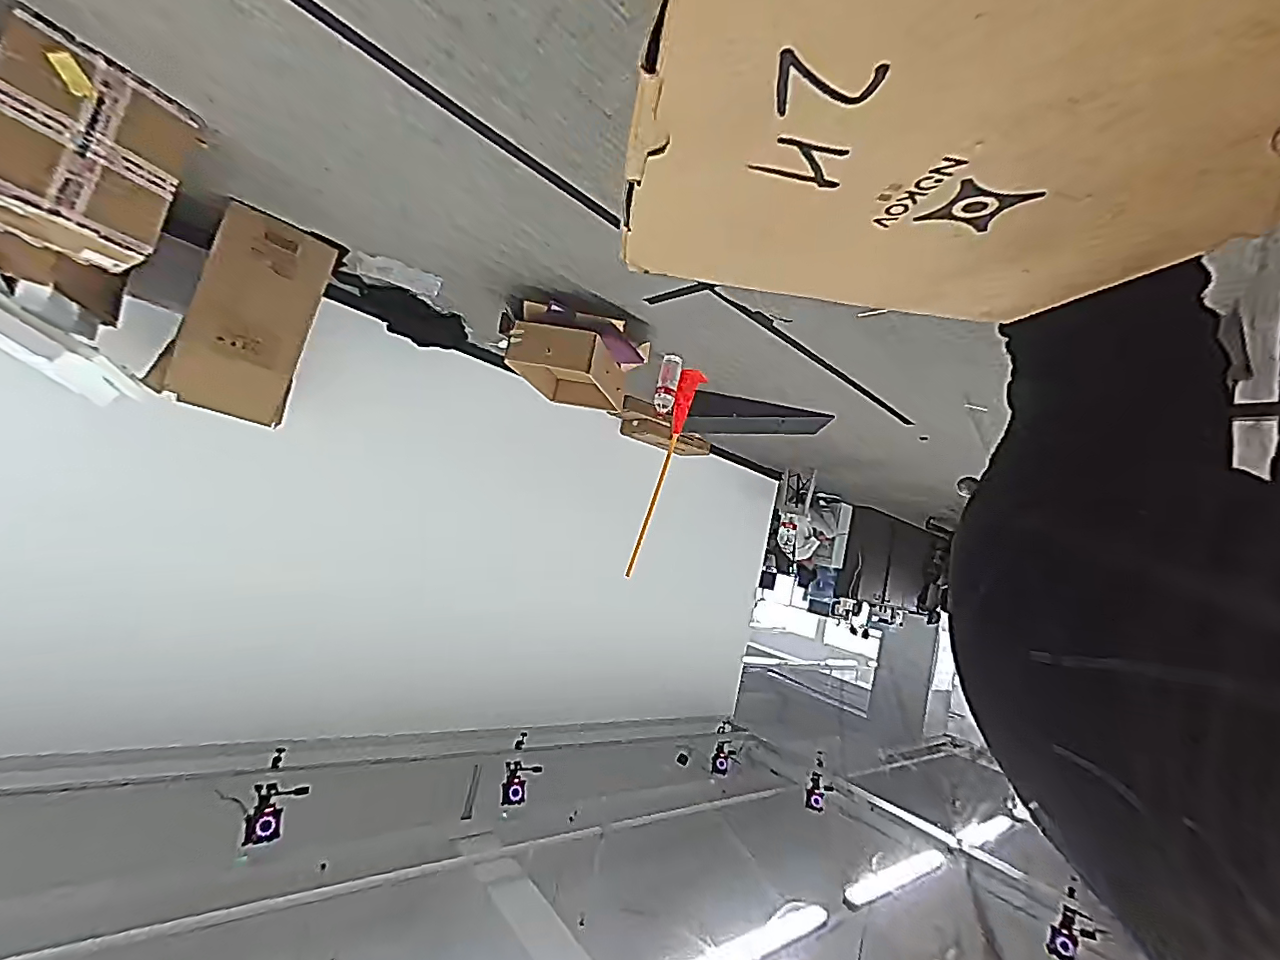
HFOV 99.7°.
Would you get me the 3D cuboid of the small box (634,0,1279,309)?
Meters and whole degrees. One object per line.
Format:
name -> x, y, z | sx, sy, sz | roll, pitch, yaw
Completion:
small box -> 0.101, -0.167, 0.155 | 0.179, 0.176, 0.168 | 7, 179, -6
